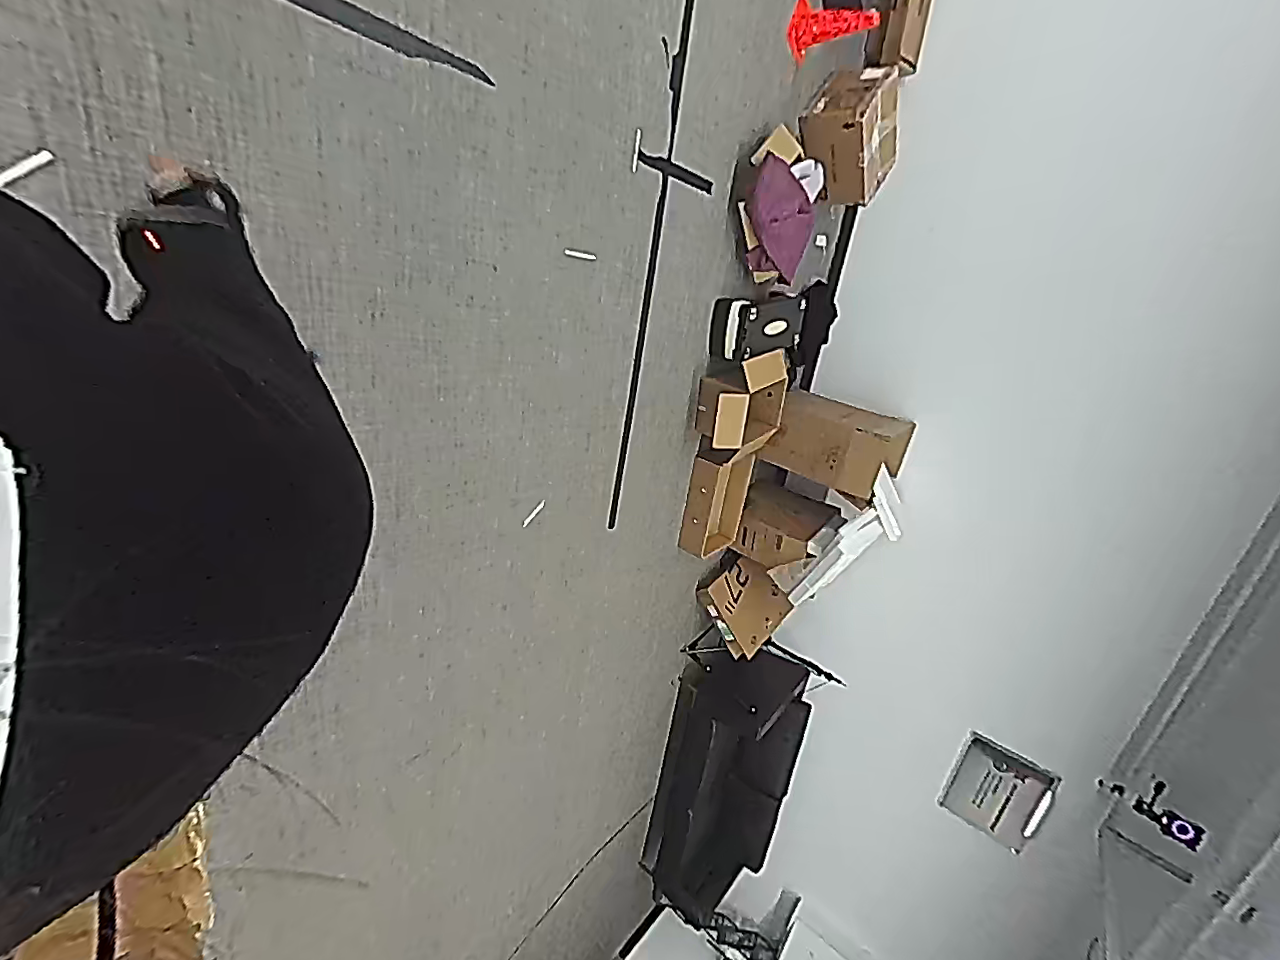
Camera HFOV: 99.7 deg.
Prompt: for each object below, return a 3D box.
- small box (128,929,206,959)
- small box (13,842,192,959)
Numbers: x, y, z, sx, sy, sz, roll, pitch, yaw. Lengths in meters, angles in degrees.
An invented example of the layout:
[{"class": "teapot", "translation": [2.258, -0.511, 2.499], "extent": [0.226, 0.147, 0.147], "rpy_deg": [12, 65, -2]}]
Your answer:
[{"class": "small box", "translation": [-0.657, 0.753, 0.710], "extent": [0.168, 0.176, 0.179], "rpy_deg": [-18, 122, -48]}, {"class": "small box", "translation": [-0.782, 0.697, 0.800], "extent": [0.168, 0.176, 0.179], "rpy_deg": [-16, 121, -49]}]
